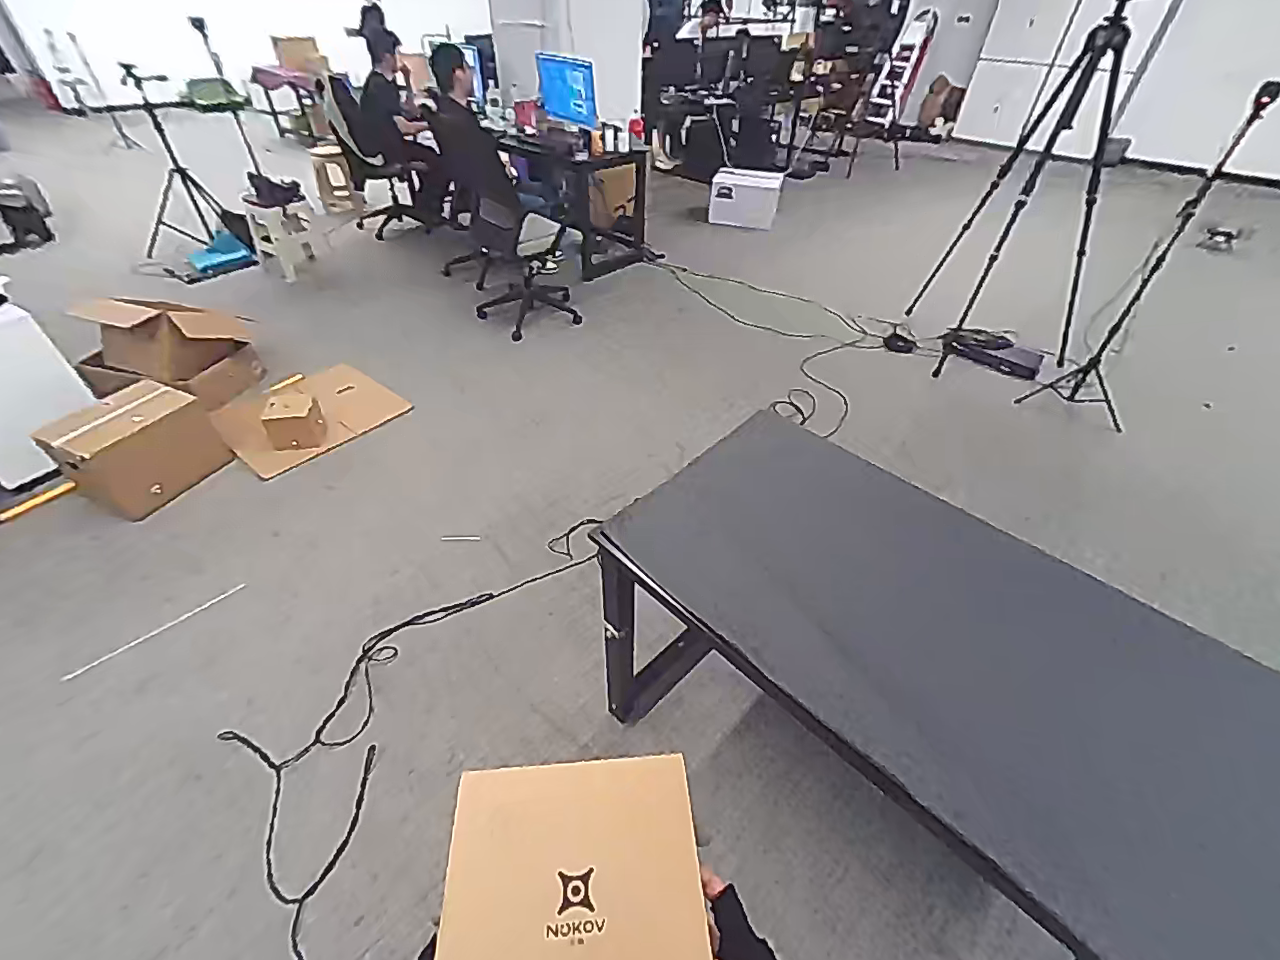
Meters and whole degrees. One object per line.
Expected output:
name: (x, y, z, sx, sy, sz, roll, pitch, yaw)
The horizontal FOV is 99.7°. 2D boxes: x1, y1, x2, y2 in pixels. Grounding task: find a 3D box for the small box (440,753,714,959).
small box: (-0.042, 0.327, 0.393, 0.168, 0.176, 0.179, -3, 42, -5)
